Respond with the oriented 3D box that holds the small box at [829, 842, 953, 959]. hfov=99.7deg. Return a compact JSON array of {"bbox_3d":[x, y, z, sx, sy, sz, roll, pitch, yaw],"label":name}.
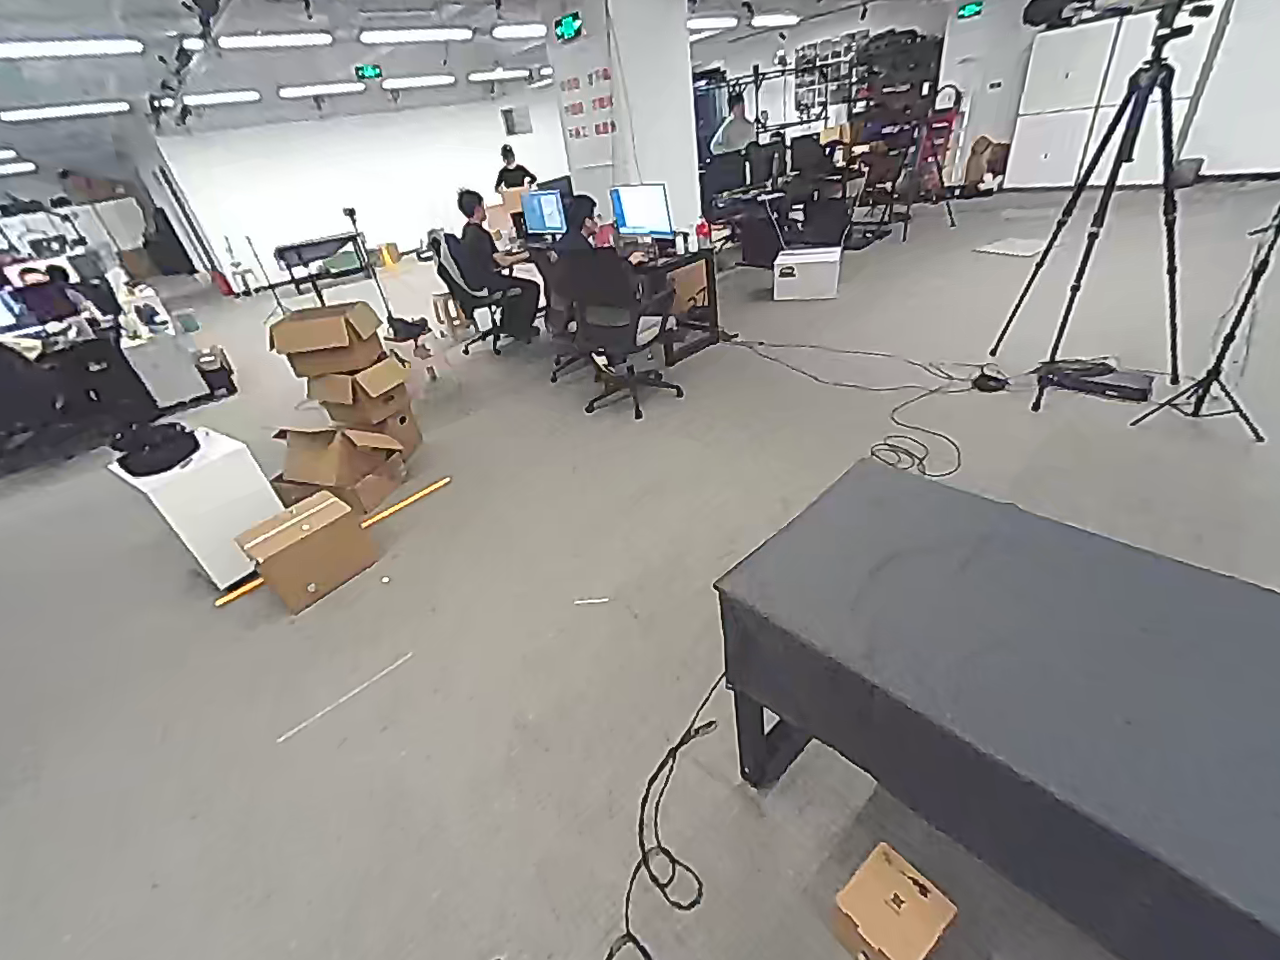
[{"bbox_3d":[0.514,0.918,1.123,0.179,0.176,0.168,-28,36,-27],"label":"small box"}]
